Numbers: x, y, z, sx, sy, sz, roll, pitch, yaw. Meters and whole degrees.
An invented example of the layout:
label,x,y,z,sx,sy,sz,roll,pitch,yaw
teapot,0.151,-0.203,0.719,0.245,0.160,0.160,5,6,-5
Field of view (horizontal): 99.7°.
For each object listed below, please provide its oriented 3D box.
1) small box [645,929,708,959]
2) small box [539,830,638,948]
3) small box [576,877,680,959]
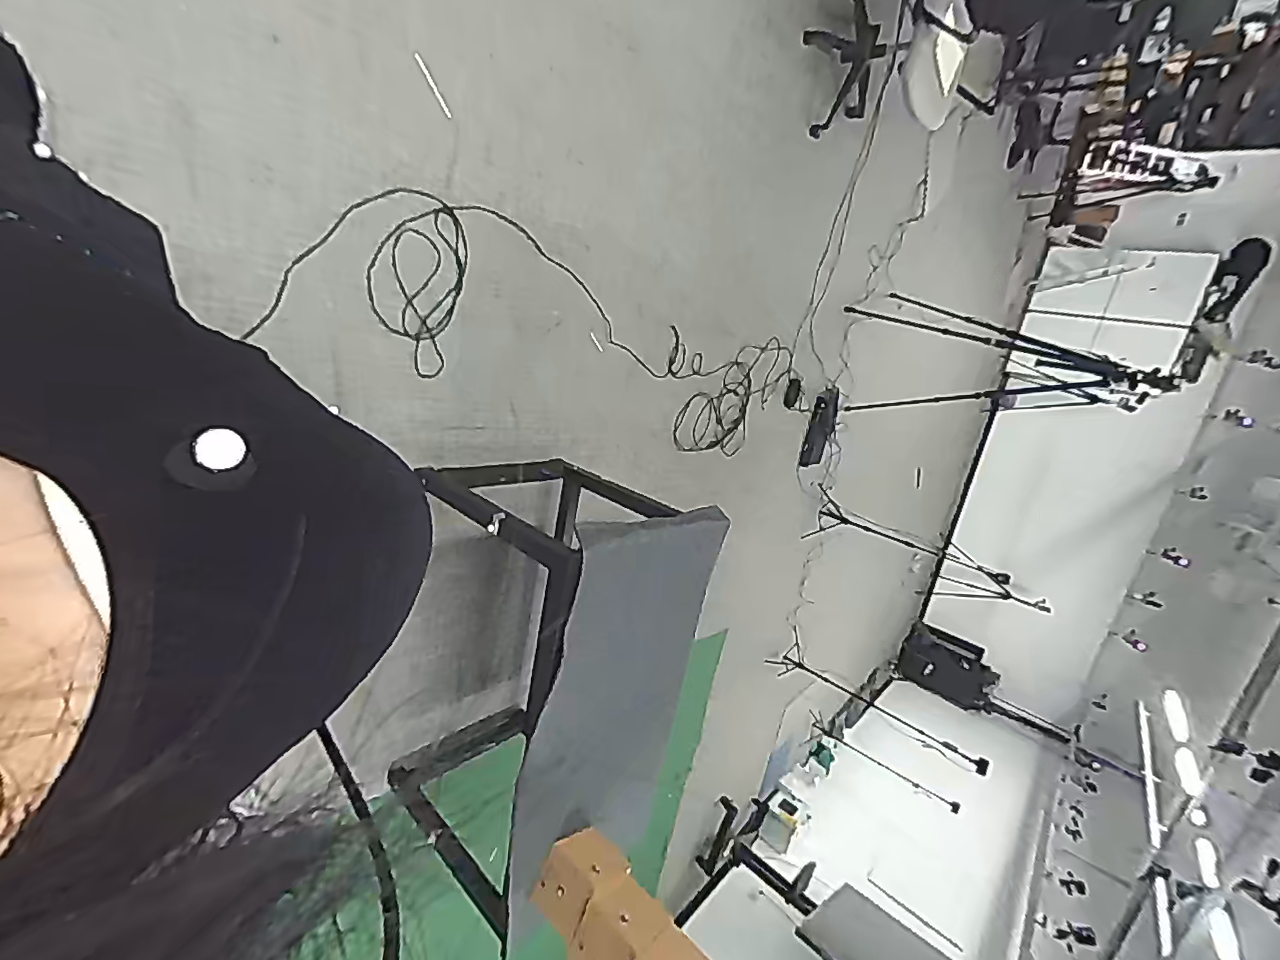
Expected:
label,x,y,z,sx,sy,sz,roll,pitch,yaw
small box,0.084,1.227,1.274,0.179,0.176,0.168,7,102,-52
small box,-0.143,1.105,1.477,0.179,0.176,0.168,26,87,-54
small box,-0.033,1.171,1.376,0.179,0.176,0.168,17,95,-55
